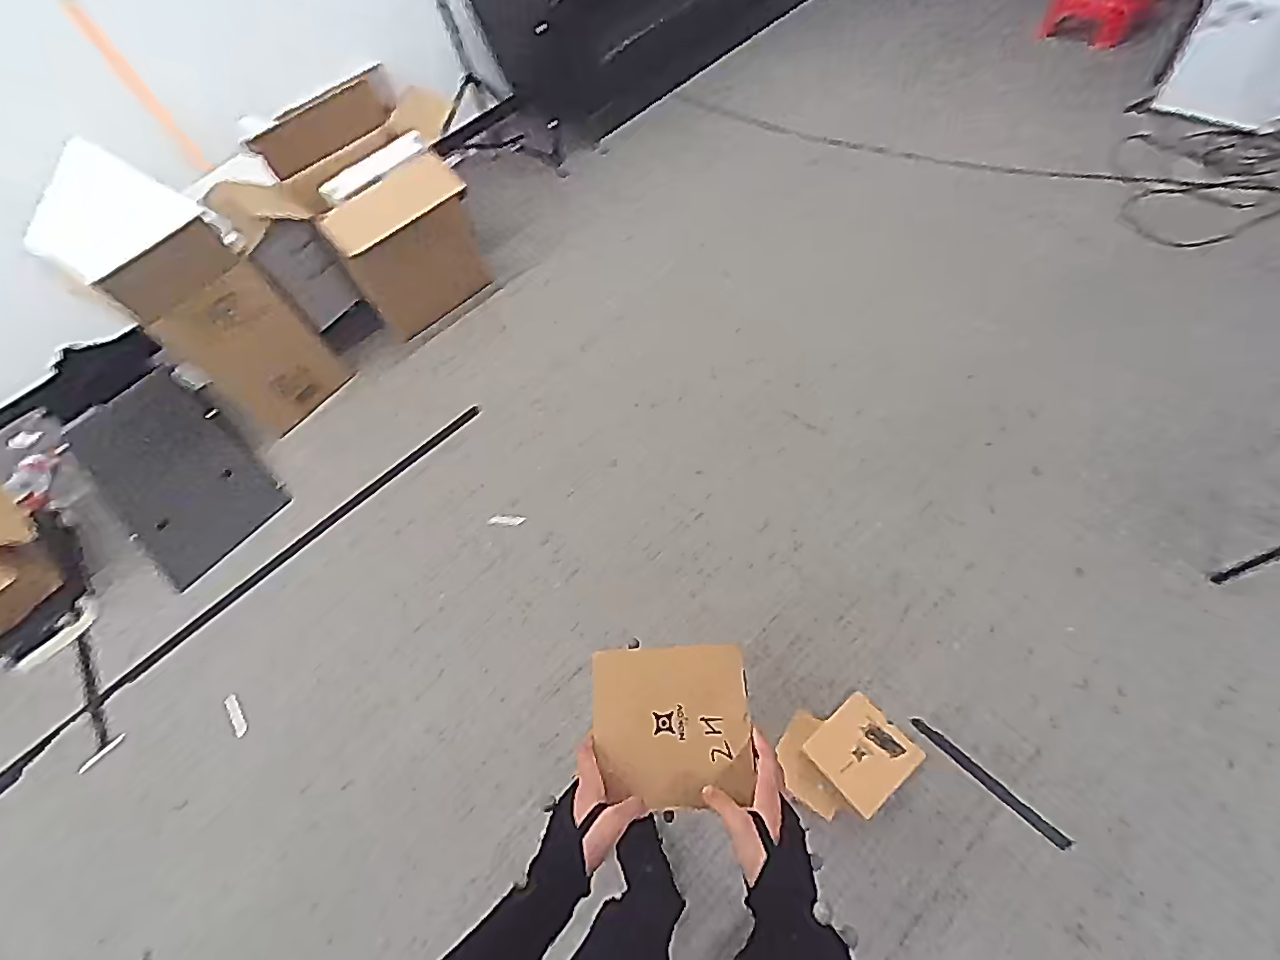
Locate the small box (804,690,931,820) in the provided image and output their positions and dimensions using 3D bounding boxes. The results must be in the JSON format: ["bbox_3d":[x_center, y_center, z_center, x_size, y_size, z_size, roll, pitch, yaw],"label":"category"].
[{"bbox_3d":[0.461,0.575,1.129,0.179,0.176,0.168,-38,58,-12],"label":"small box"}]

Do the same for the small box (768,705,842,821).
[{"bbox_3d":[0.413,0.668,1.277,0.168,0.176,0.179,29,69,27],"label":"small box"}]

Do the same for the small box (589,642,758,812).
[{"bbox_3d":[0.038,0.297,0.656,0.179,0.176,0.168,-5,65,3],"label":"small box"}]
